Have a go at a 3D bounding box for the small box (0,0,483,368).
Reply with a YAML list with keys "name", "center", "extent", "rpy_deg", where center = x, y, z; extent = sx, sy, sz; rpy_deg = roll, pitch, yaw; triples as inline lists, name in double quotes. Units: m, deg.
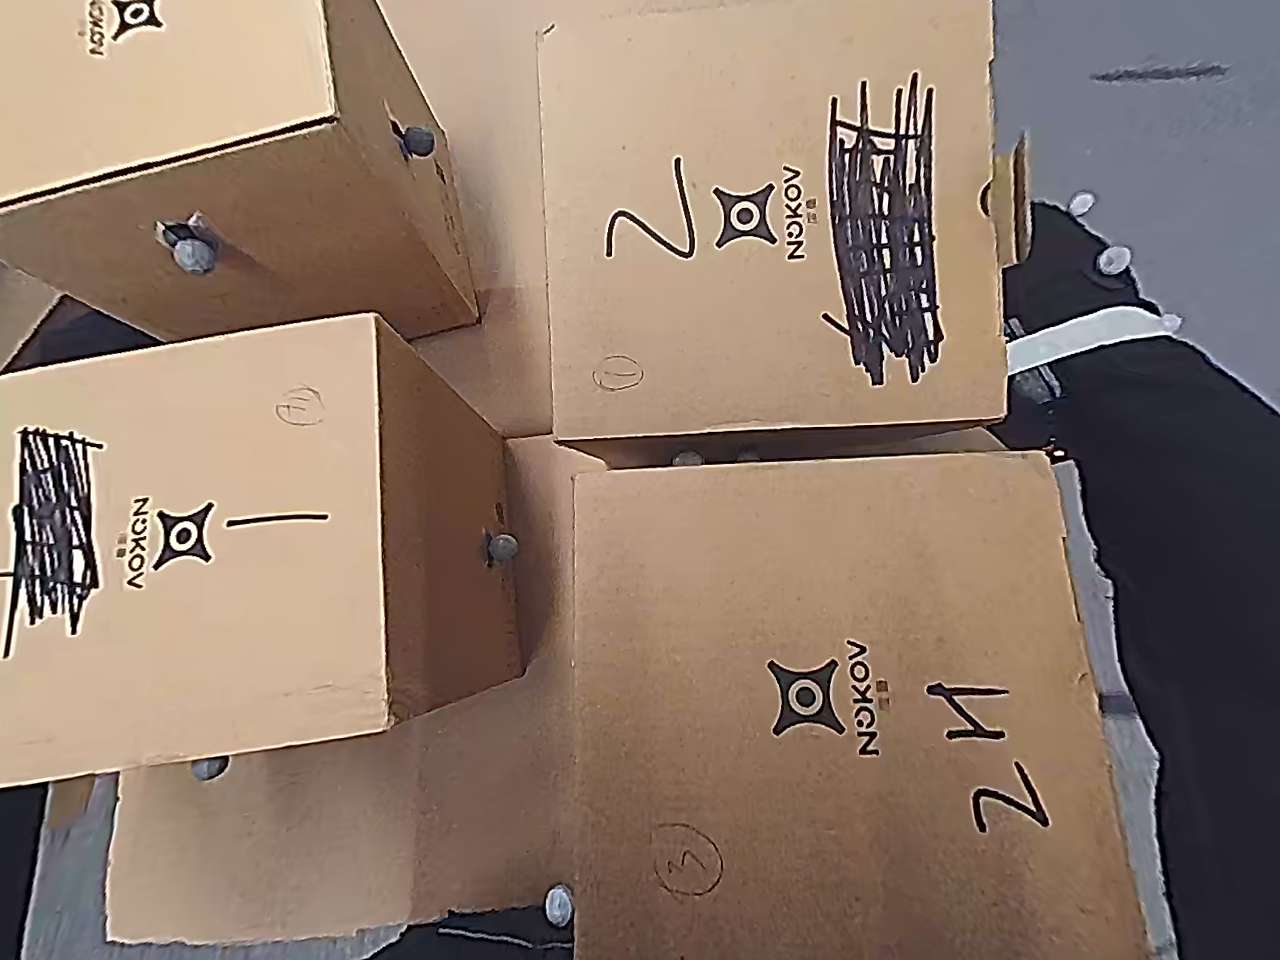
- name: "small box"
  center: [-0.207, -0.188, 0.323]
  extent: [0.179, 0.176, 0.168]
  rpy_deg: [-13, 77, 3]
